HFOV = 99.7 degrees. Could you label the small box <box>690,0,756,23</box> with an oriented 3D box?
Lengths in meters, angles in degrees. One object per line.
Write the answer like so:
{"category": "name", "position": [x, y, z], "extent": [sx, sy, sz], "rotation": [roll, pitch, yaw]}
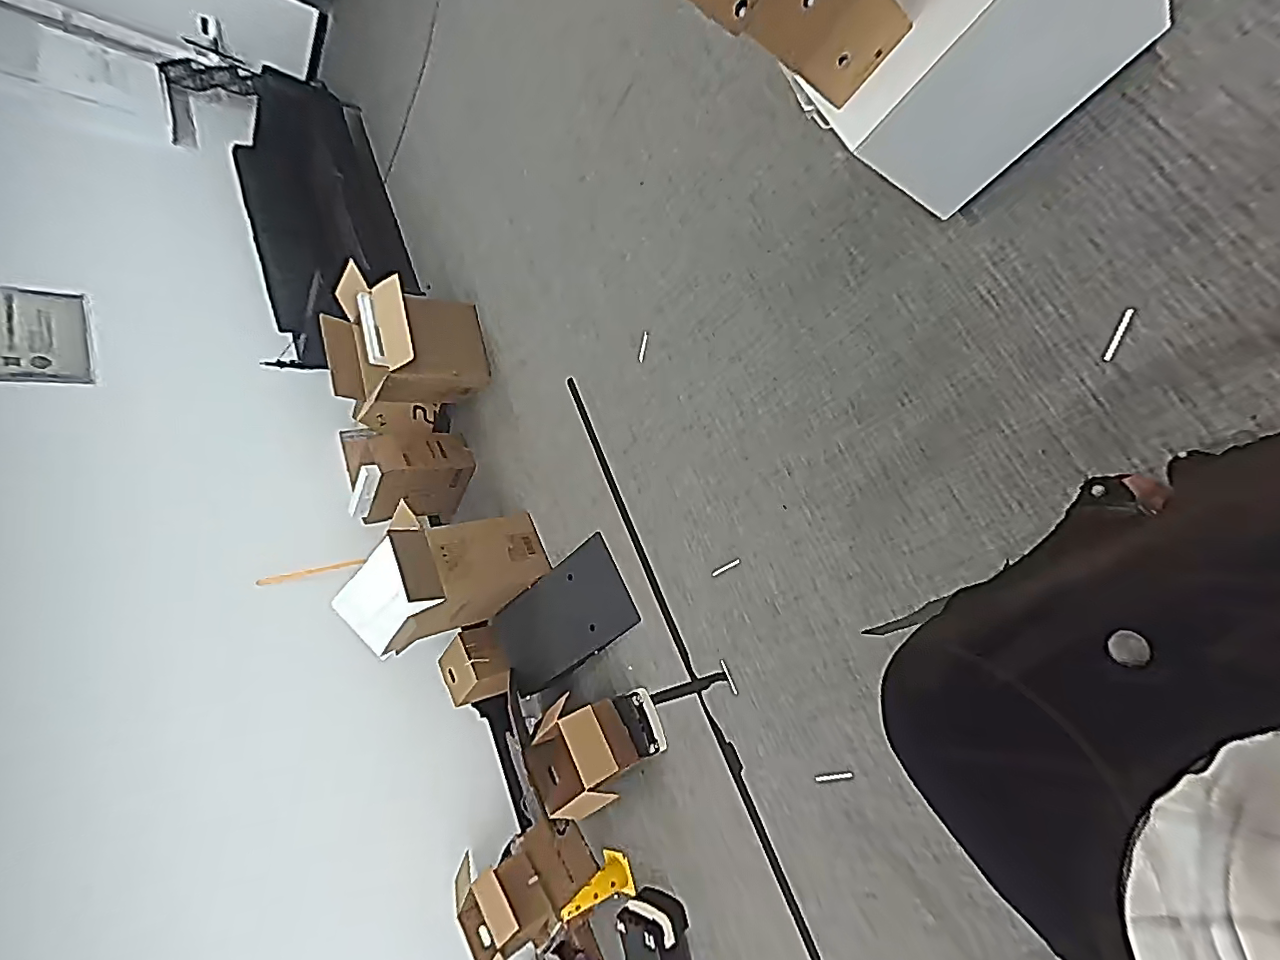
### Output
{"category": "small box", "position": [0.112, -0.811, 0.774], "extent": [0.168, 0.176, 0.179], "rotation": [-36, 68, 43]}

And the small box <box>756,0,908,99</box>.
{"category": "small box", "position": [0.354, -0.847, 0.994], "extent": [0.168, 0.176, 0.179], "rotation": [-40, 66, 41]}
